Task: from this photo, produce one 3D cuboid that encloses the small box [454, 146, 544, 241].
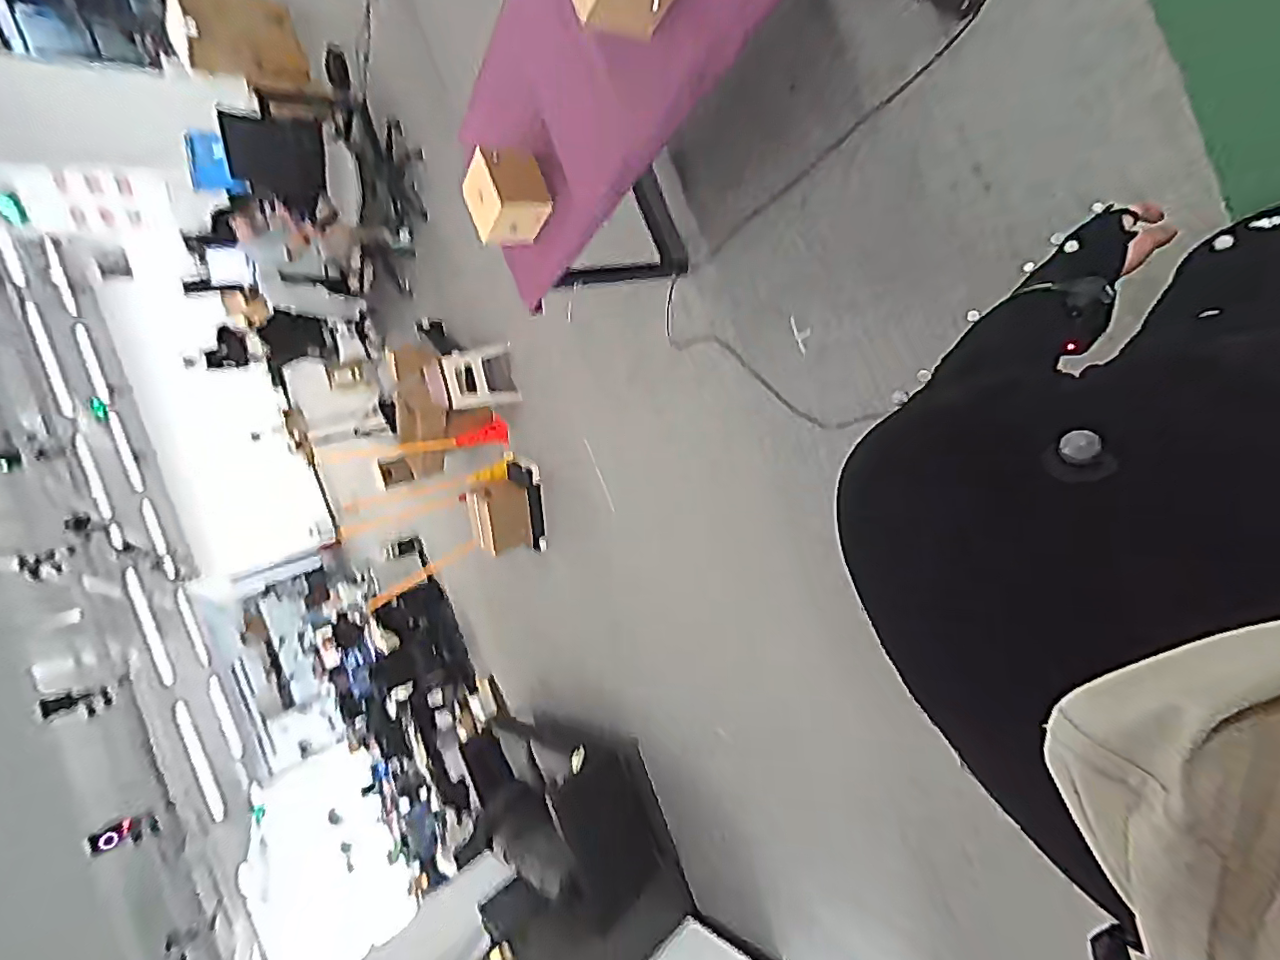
[{"bbox_3d":[-0.392,-0.796,1.510,0.168,0.176,0.179,-26,85,53],"label":"small box"}]
